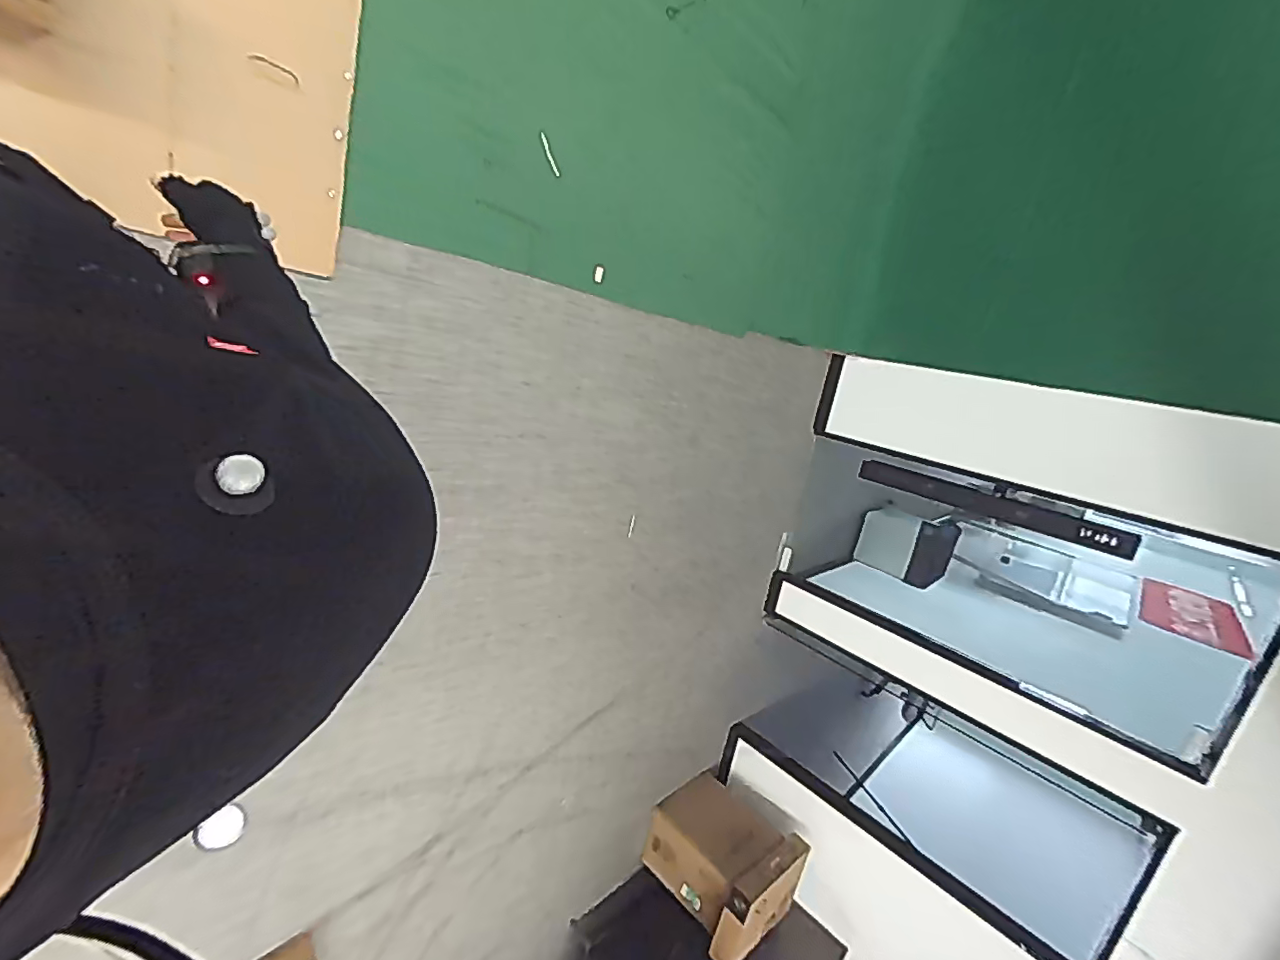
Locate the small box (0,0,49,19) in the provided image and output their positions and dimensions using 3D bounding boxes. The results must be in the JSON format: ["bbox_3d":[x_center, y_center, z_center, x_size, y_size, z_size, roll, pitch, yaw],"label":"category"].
[{"bbox_3d":[-0.943,-0.798,0.751,0.168,0.176,0.179,2,105,-47],"label":"small box"}]
